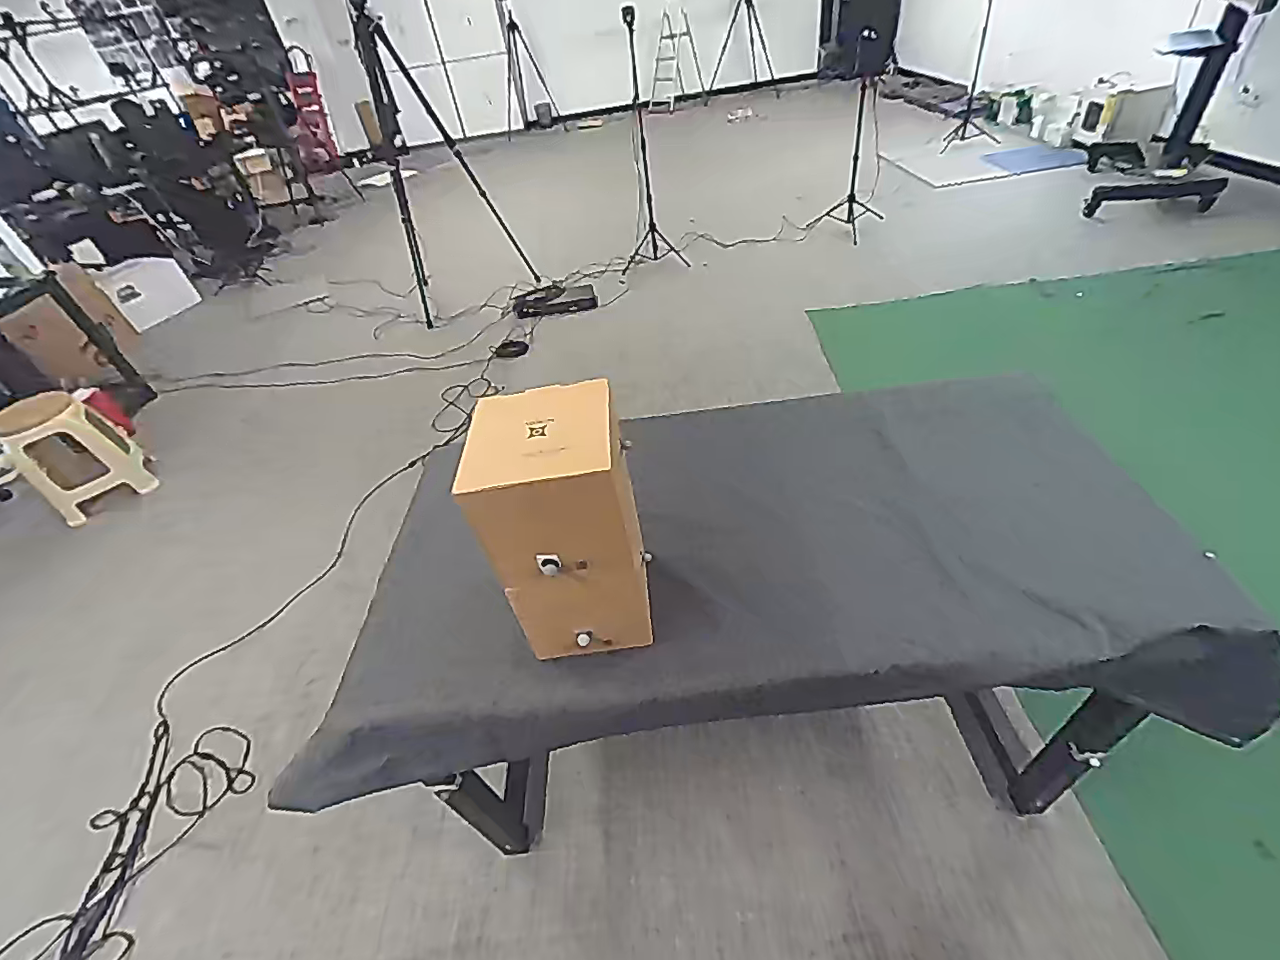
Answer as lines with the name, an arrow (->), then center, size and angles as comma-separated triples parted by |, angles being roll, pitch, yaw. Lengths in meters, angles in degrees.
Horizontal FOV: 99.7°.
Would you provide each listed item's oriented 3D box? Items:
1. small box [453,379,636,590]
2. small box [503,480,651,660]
small box -> -0.101, 0.005, 0.648 | 0.168, 0.176, 0.179 | -10, 42, 3
small box -> -0.079, 0.124, 0.756 | 0.168, 0.176, 0.179 | -9, 42, 2
